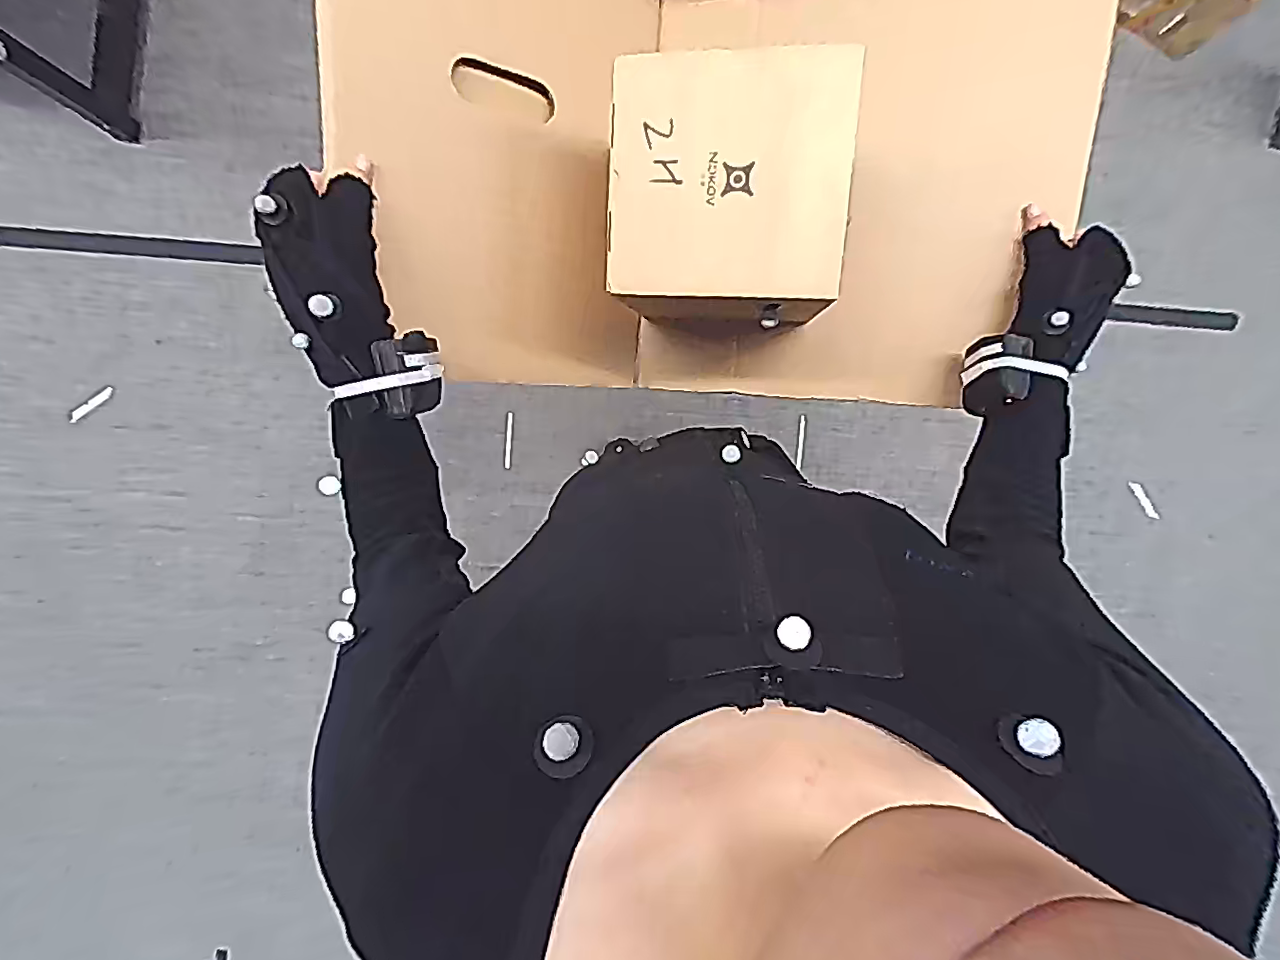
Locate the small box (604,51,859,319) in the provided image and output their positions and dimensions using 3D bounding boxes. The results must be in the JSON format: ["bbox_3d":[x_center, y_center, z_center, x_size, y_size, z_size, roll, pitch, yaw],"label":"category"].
[{"bbox_3d":[0.075,-0.238,0.477,0.179,0.176,0.168,5,101,10],"label":"small box"}]
